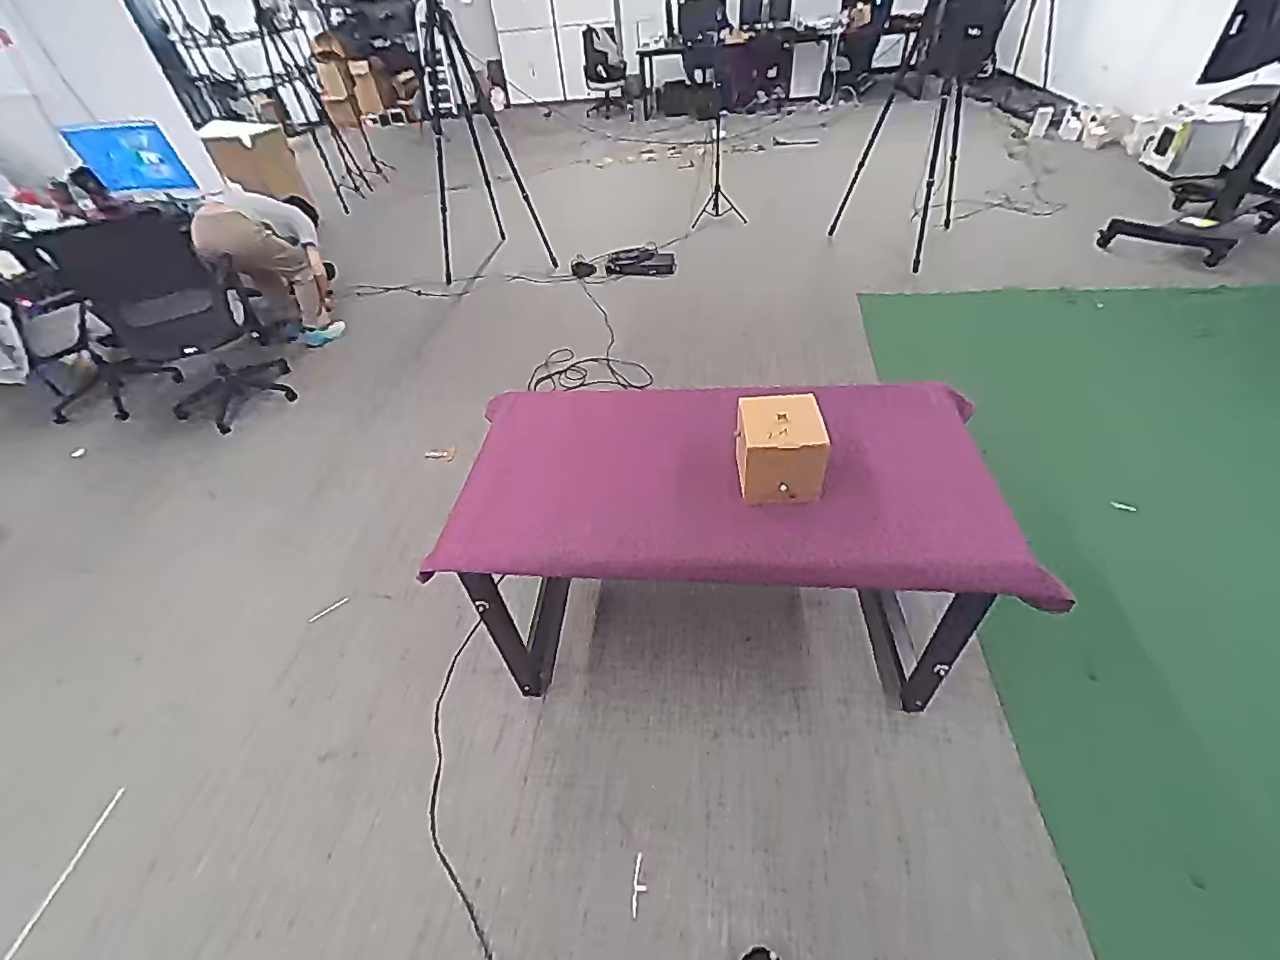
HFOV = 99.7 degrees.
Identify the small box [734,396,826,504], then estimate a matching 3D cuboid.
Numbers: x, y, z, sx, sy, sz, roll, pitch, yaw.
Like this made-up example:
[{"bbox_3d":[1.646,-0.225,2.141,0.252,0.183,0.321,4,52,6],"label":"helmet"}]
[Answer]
[{"bbox_3d":[0.300,-0.065,1.197,0.168,0.176,0.179,-2,44,5],"label":"small box"}]
